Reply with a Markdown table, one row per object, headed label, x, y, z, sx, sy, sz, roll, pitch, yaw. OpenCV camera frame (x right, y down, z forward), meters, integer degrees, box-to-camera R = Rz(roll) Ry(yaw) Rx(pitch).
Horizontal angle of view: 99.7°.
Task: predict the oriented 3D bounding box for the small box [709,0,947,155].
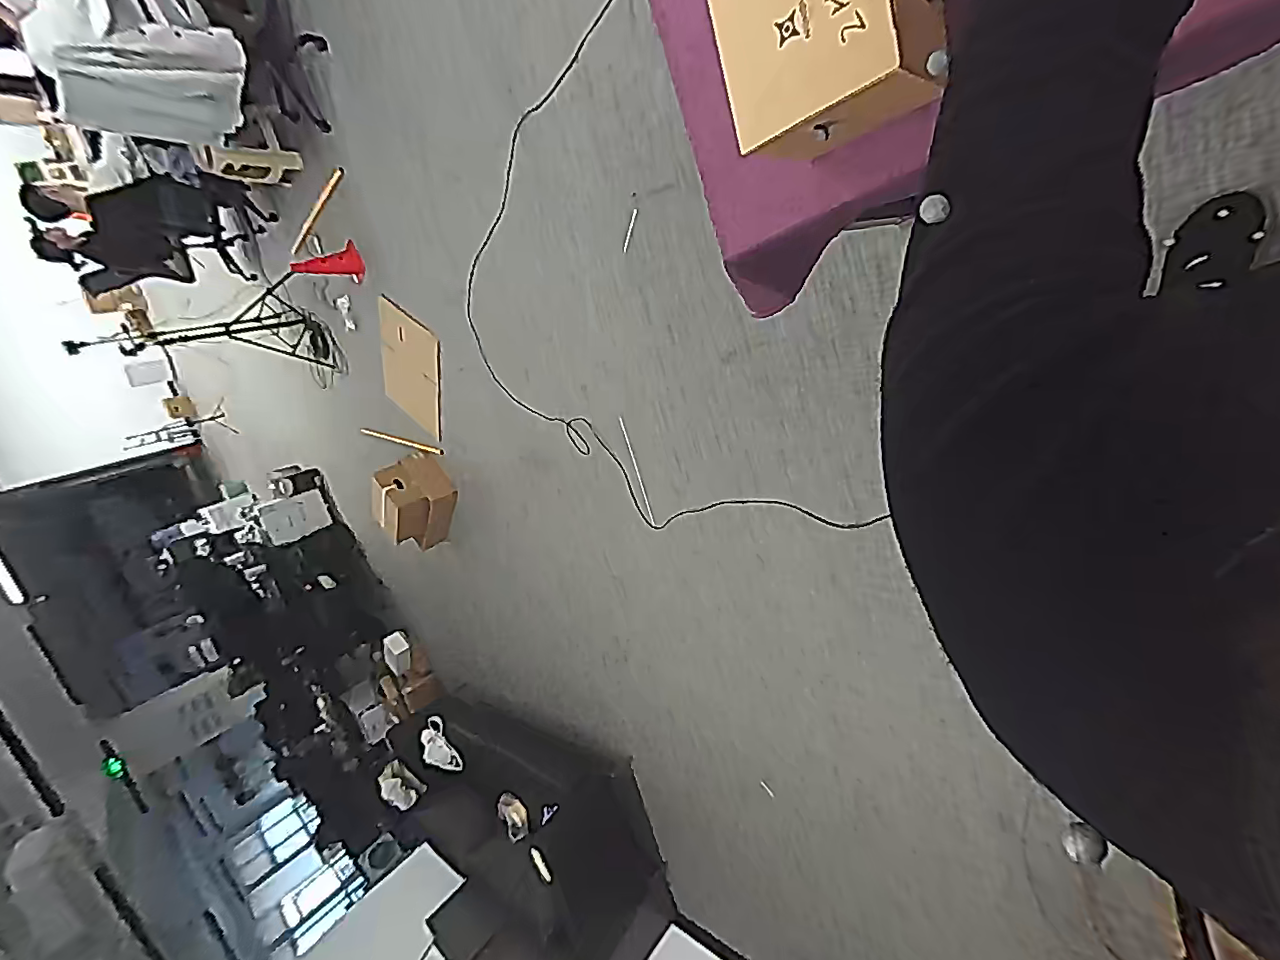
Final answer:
| label | x | y | z | sx | sy | sz | roll | pitch | yaw |
| --- | --- | --- | --- | --- | --- | --- | --- | --- | --- |
| small box | 0.205 | -0.475 | 0.585 | 0.179 | 0.176 | 0.168 | -2 | 109 | 45 |
